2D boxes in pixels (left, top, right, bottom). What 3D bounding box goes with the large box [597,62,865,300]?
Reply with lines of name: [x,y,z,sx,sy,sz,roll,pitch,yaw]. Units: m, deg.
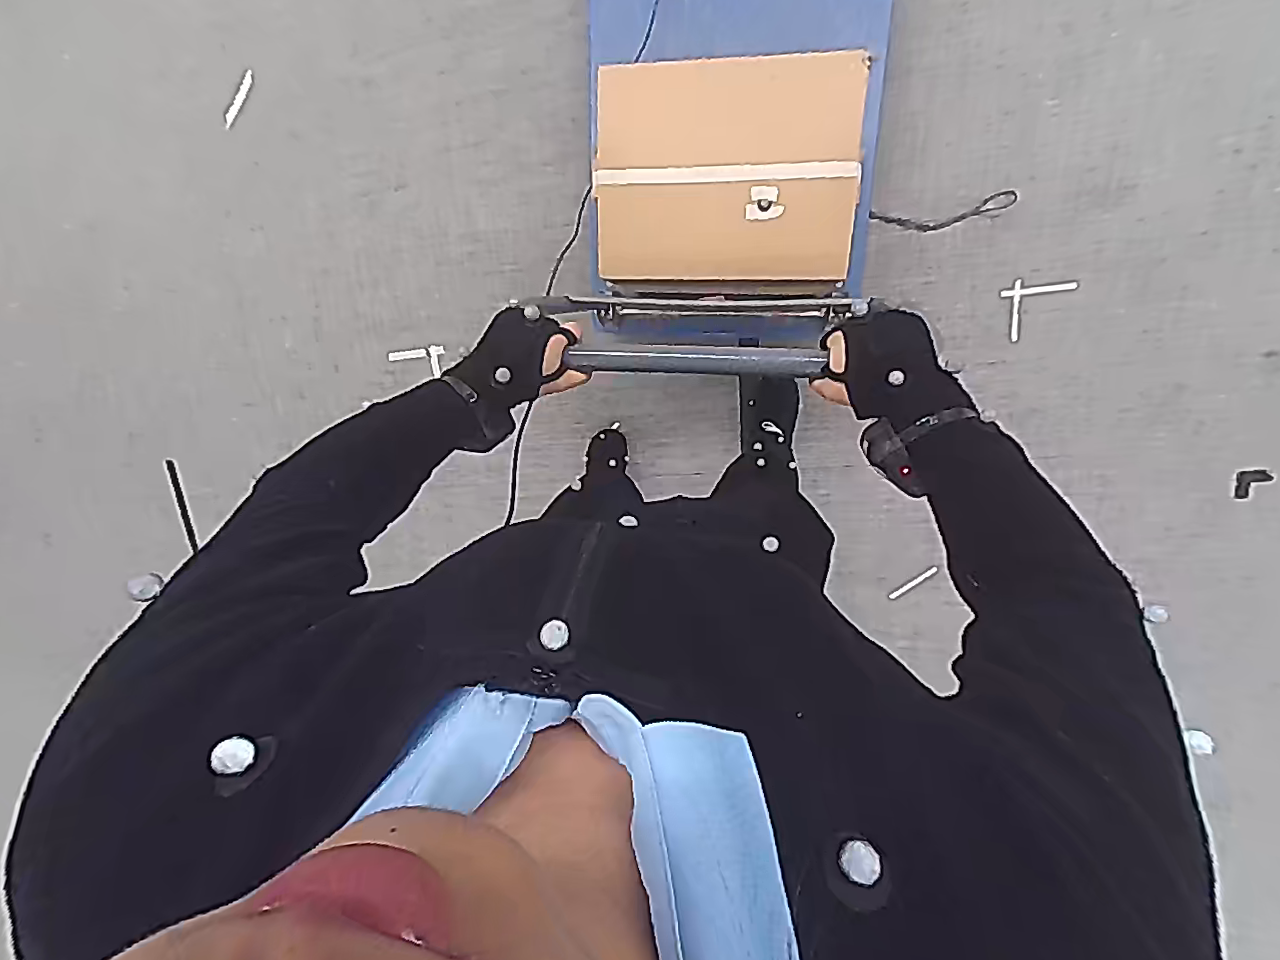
large box: [0.149,-0.502,0.988,0.408,0.320,0.320,4,106,8]
